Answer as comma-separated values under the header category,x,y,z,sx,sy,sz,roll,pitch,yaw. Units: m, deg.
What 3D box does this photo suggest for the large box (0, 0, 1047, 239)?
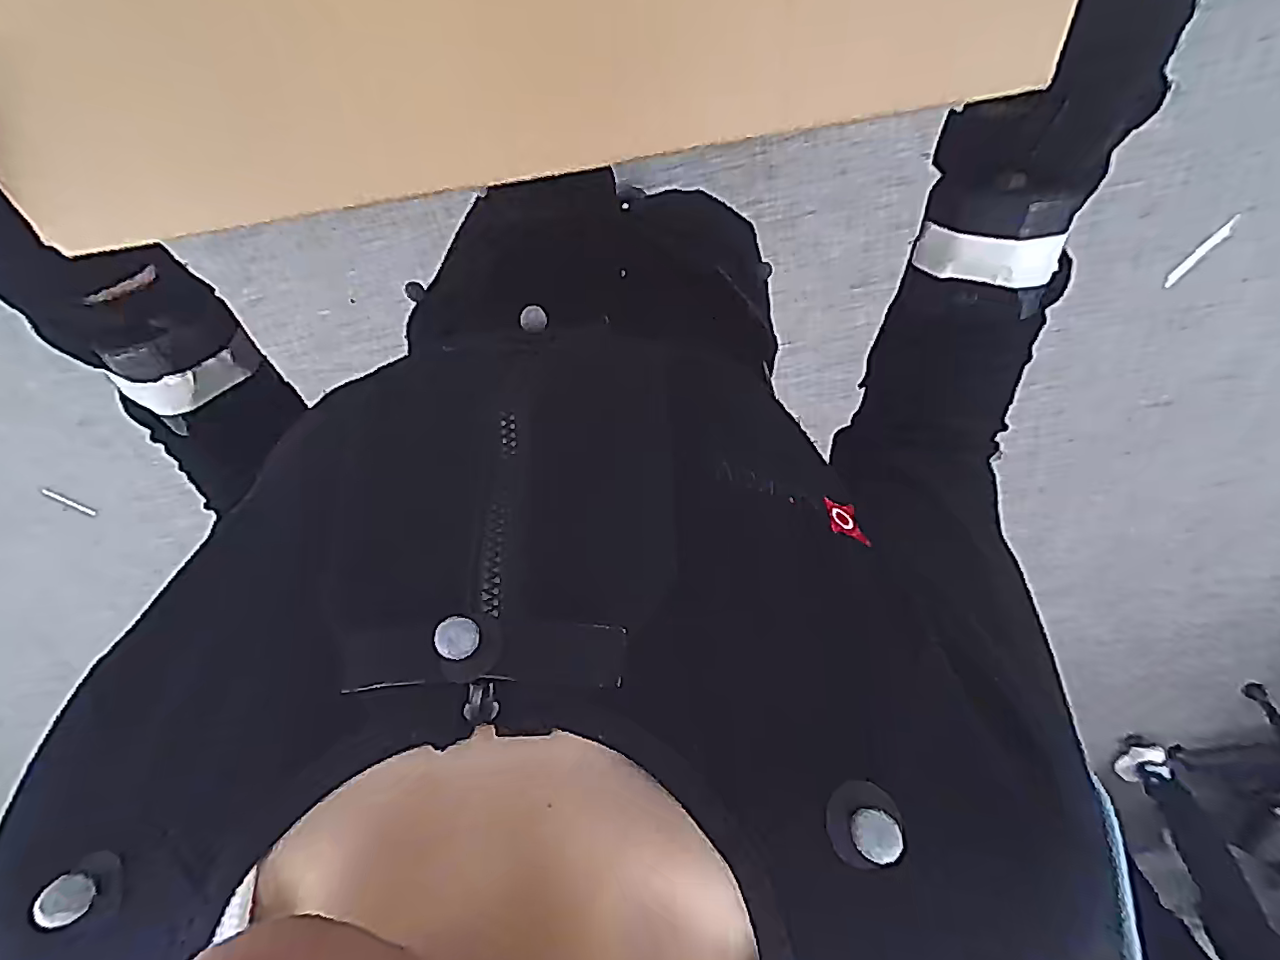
category,x,y,z,sx,sy,sz,roll,pitch,yaw
large box,-0.074,-0.344,0.242,0.408,0.320,0.320,-8,131,4
